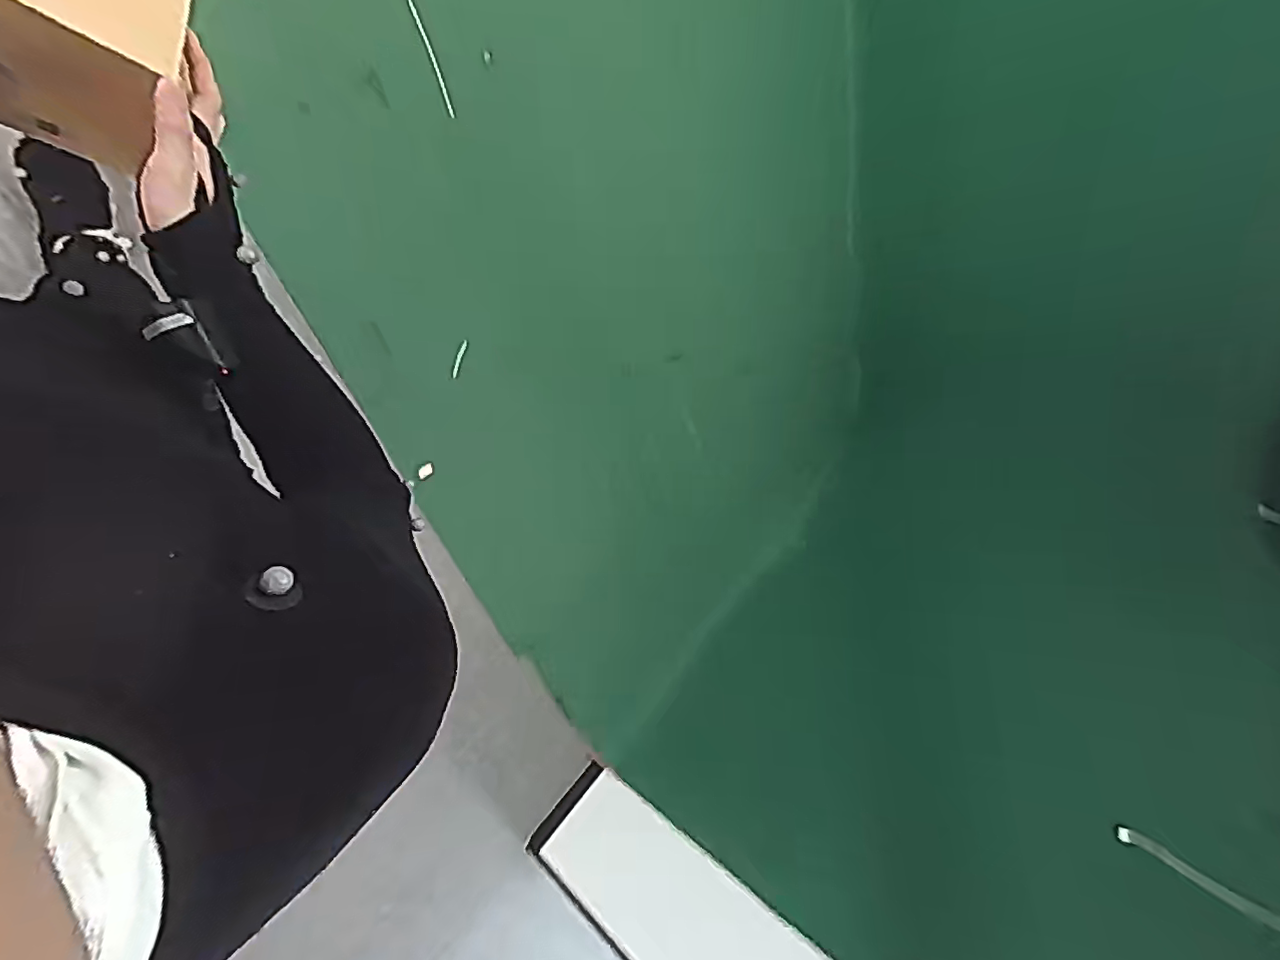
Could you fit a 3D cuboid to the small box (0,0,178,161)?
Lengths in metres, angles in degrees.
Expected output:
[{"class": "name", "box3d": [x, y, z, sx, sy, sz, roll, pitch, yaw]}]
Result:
[{"class": "small box", "box3d": [-0.445, -0.376, 0.387, 0.168, 0.176, 0.179, 10, 79, -48]}]
